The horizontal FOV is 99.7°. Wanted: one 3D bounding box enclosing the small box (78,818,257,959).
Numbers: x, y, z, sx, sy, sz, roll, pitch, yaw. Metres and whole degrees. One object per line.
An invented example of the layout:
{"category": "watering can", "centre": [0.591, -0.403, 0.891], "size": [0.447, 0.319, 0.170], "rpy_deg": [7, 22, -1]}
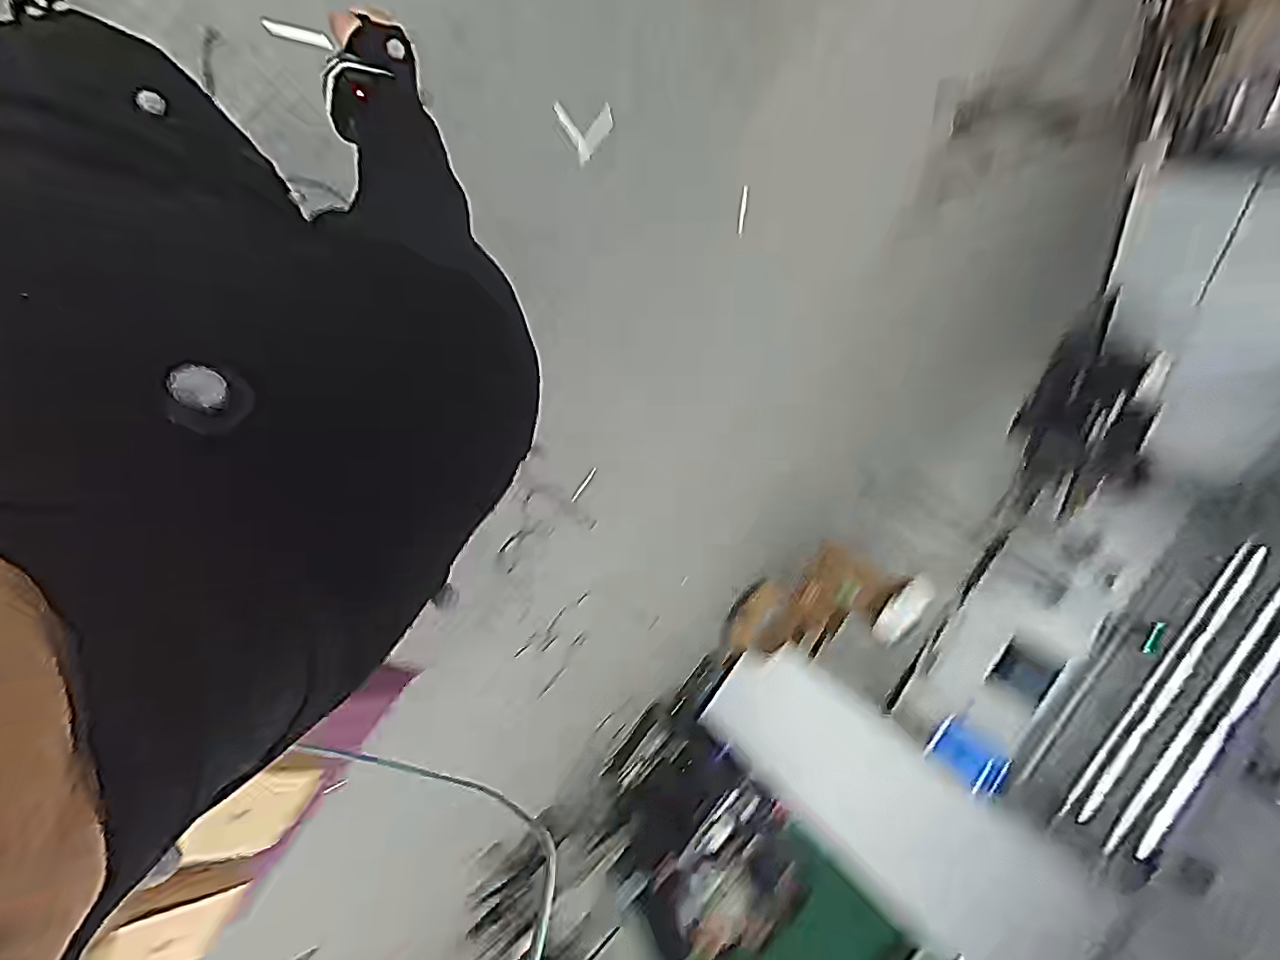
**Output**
{"category": "small box", "centre": [-0.813, 0.706, 0.932], "size": [0.168, 0.176, 0.179], "rpy_deg": [-58, 141, 1]}

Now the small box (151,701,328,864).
{"category": "small box", "centre": [-0.684, 0.502, 0.925], "size": [0.168, 0.176, 0.179], "rpy_deg": [-56, 142, -1]}
